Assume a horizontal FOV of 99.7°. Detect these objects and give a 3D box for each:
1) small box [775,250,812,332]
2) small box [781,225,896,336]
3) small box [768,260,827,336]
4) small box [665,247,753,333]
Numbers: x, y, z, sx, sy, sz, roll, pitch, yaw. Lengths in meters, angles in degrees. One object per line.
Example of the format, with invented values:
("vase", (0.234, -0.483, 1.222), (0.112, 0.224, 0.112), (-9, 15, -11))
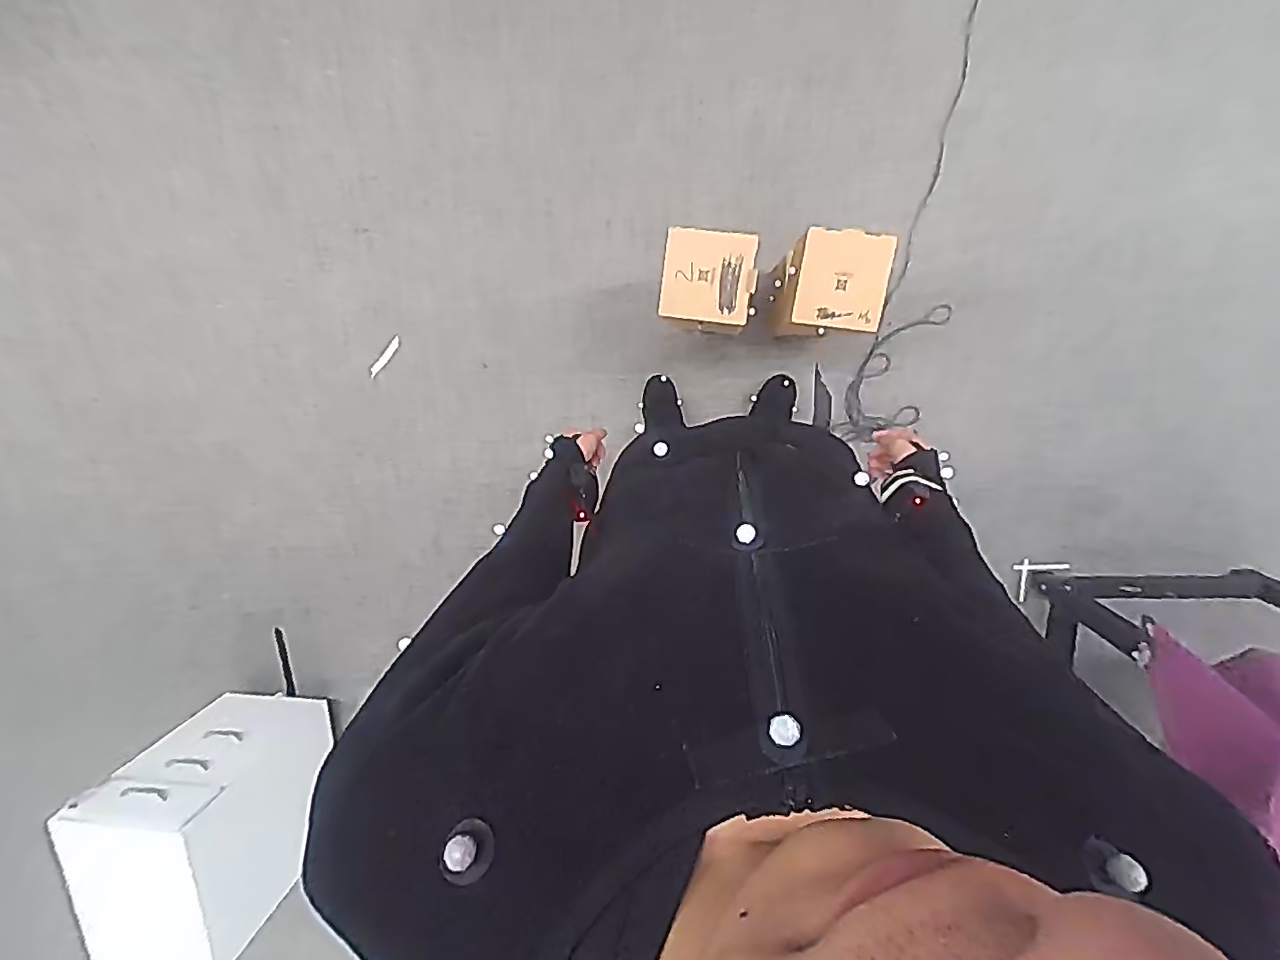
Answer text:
("small box", (0.413, -0.434, 1.258), (0.179, 0.176, 0.168), (2, 103, 7))
("small box", (0.391, -0.396, 1.099), (0.168, 0.176, 0.179), (9, 103, 5))
("small box", (0.430, -0.472, 1.414), (0.168, 0.176, 0.179), (0, 103, 7))
("small box", (0.161, -0.442, 1.280), (0.179, 0.176, 0.168), (9, 104, 5))
